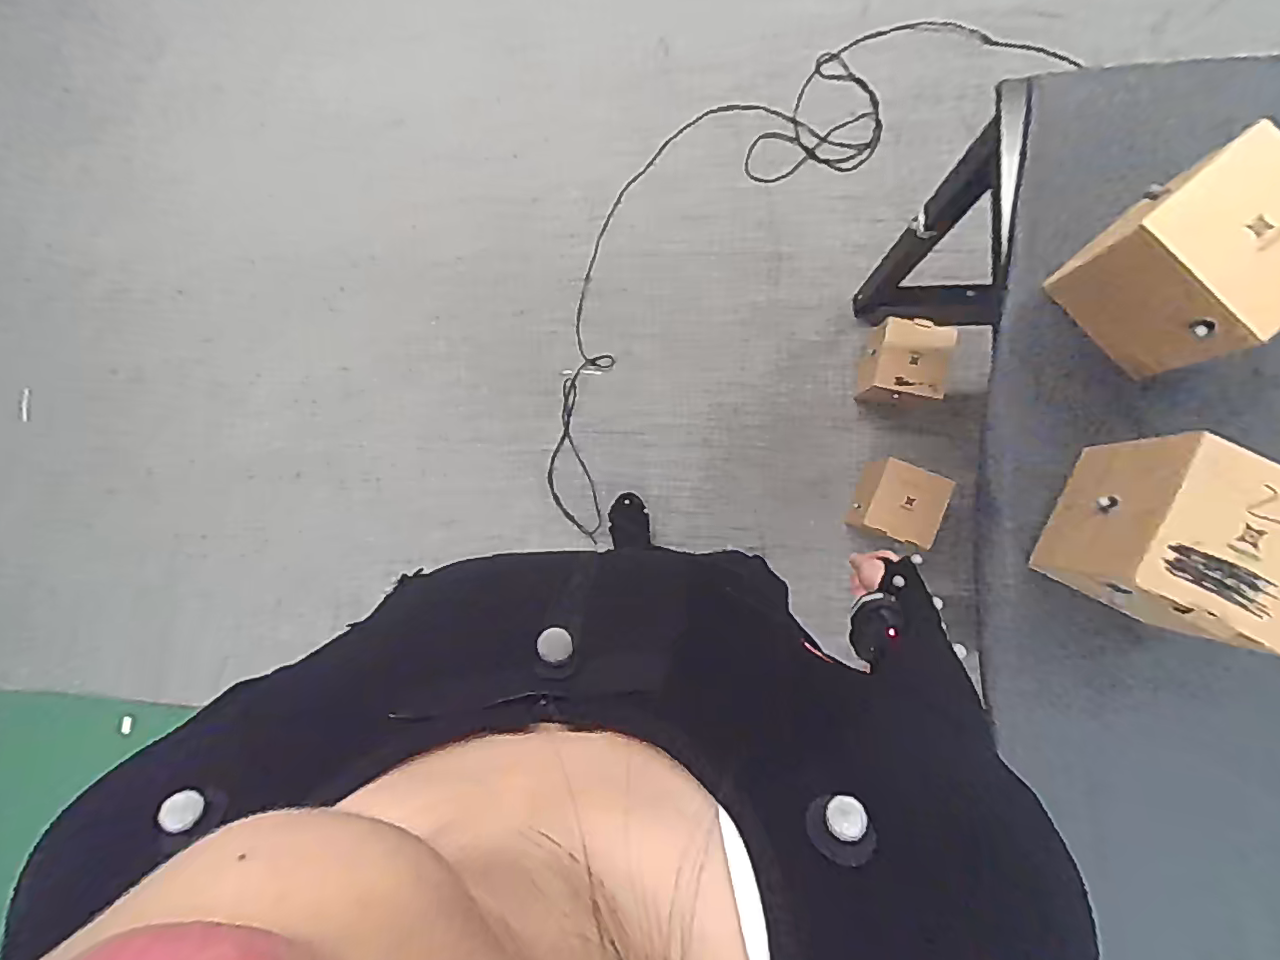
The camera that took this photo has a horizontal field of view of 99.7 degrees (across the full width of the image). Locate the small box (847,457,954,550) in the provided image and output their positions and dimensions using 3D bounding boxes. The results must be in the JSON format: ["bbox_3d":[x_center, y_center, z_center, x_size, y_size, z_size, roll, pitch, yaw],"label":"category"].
[{"bbox_3d":[0.637,0.060,1.348,0.168,0.176,0.179,21,88,5],"label":"small box"}]

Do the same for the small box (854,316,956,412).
[{"bbox_3d":[0.660,-0.286,1.365,0.168,0.176,0.179,13,87,6],"label":"small box"}]

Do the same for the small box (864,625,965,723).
[{"bbox_3d":[0.664,0.465,1.324,0.168,0.176,0.179,7,88,6],"label":"small box"}]

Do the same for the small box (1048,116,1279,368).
[{"bbox_3d":[0.644,-0.259,0.634,0.168,0.176,0.179,-41,85,2],"label":"small box"}]
